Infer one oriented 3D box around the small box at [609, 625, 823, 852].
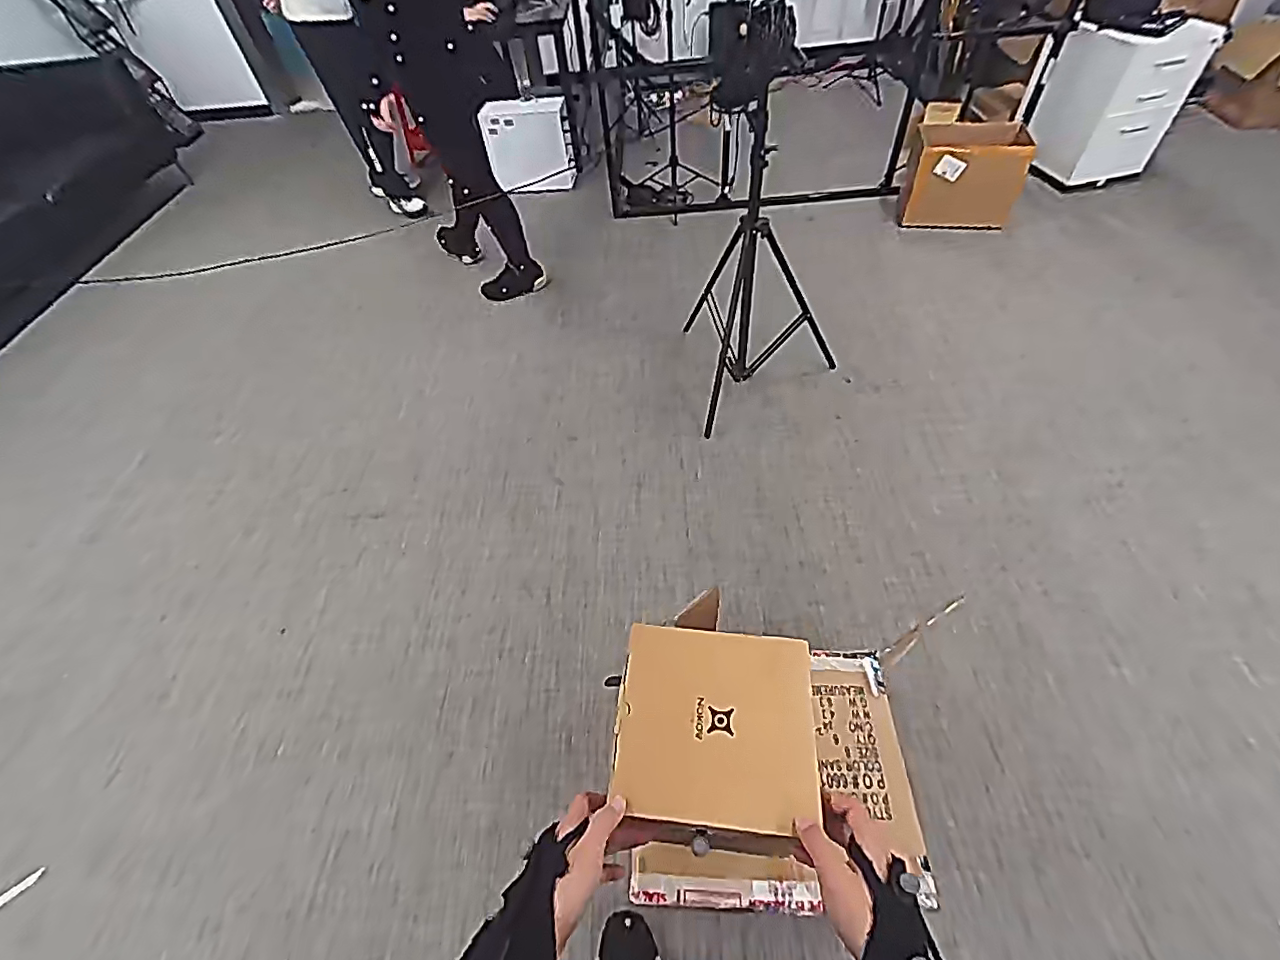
[{"bbox_3d":[0.073,0.265,0.547,0.179,0.176,0.168,3,51,7],"label":"small box"}]
